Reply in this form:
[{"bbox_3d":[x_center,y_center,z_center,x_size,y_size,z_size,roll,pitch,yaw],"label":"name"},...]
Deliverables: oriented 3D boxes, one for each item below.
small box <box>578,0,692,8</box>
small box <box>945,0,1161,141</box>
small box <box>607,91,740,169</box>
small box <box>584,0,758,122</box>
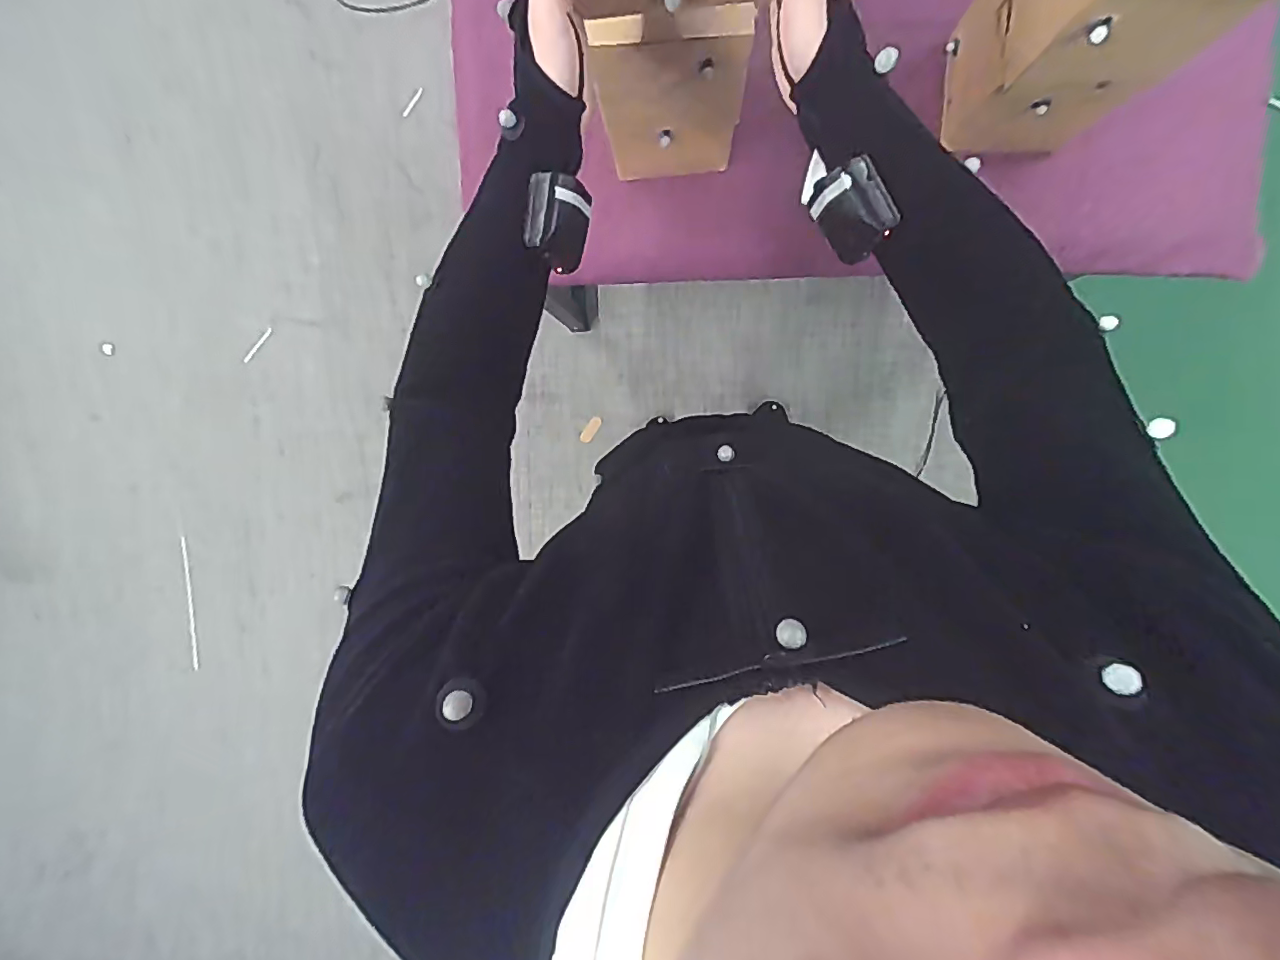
[{"bbox_3d":[0.019,-0.475,0.375,0.179,0.176,0.168,-1,106,6],"label":"small box"},{"bbox_3d":[0.541,-0.585,0.730,0.179,0.176,0.168,2,97,4],"label":"small box"},{"bbox_3d":[0.045,-0.572,0.775,0.179,0.176,0.168,-2,97,6],"label":"small box"},{"bbox_3d":[0.035,-0.539,0.613,0.179,0.176,0.168,-1,96,5],"label":"small box"}]
